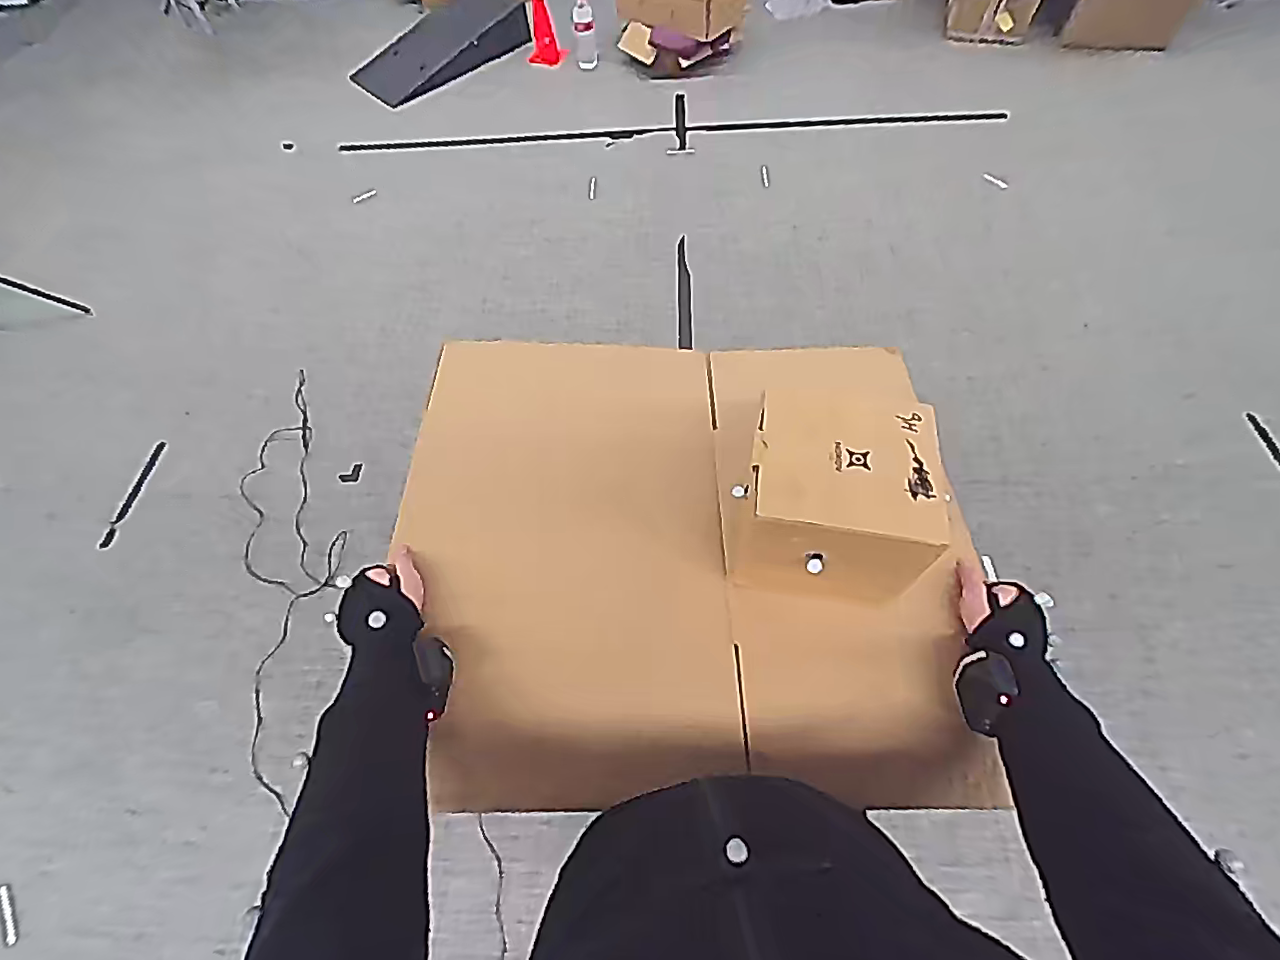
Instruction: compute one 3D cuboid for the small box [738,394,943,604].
[{"bbox_3d":[0.209,0.026,0.607,0.179,0.176,0.168,7,58,8],"label":"small box"}]
